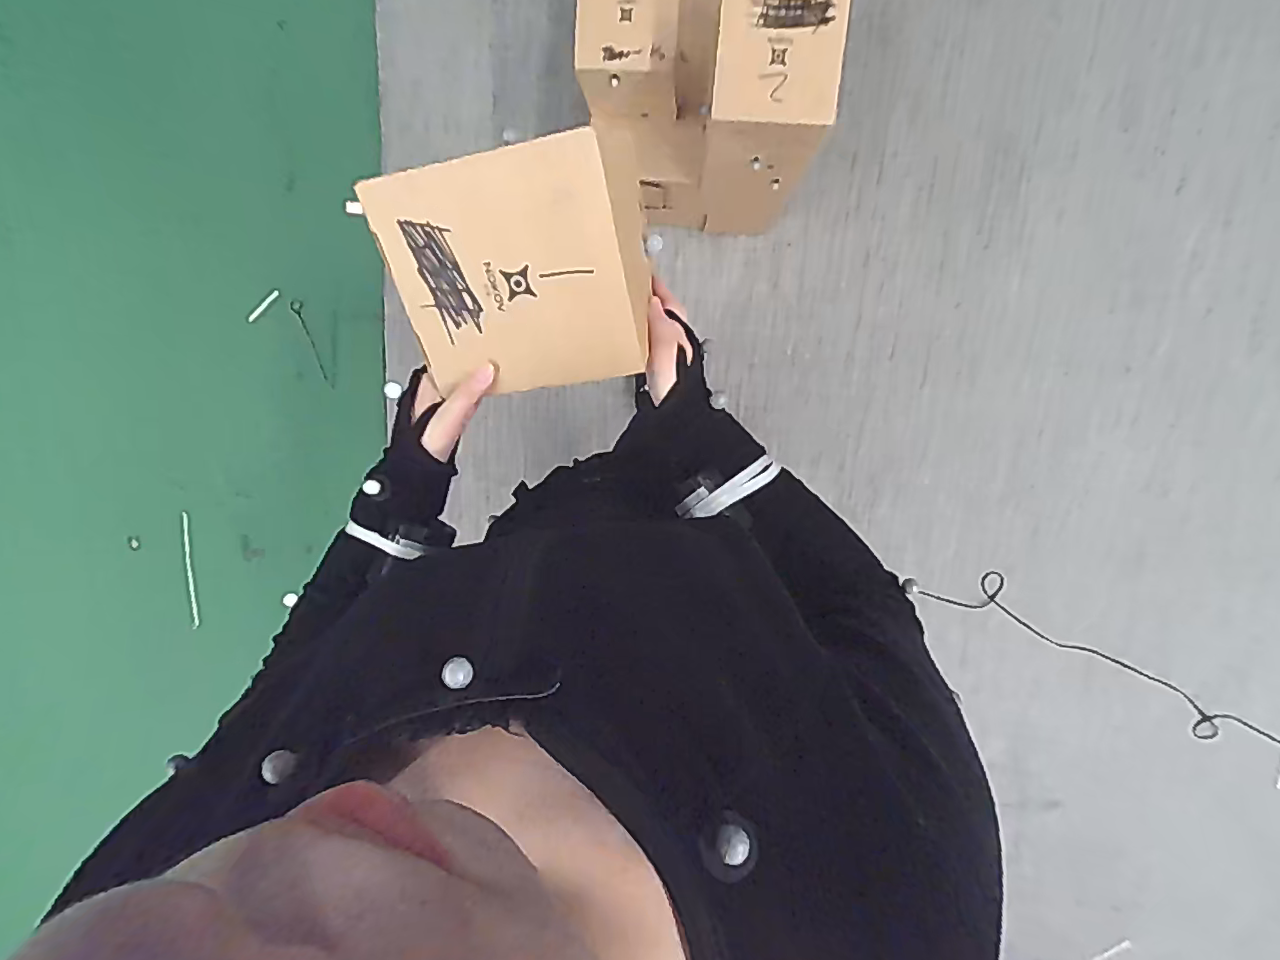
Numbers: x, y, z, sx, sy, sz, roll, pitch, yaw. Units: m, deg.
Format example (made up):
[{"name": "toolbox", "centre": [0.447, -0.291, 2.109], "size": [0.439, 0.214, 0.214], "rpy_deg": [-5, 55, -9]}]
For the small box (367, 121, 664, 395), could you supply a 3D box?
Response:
[{"name": "small box", "centre": [-0.082, -0.188, 0.461], "size": [0.179, 0.176, 0.168], "rpy_deg": [-7, 120, 10]}]

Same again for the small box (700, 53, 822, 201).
[{"name": "small box", "centre": [0.201, -0.606, 0.948], "size": [0.179, 0.176, 0.168], "rpy_deg": [4, 100, 4]}]

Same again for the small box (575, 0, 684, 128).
[{"name": "small box", "centre": [-0.013, -0.751, 0.940], "size": [0.168, 0.176, 0.179], "rpy_deg": [5, 99, 4]}]
